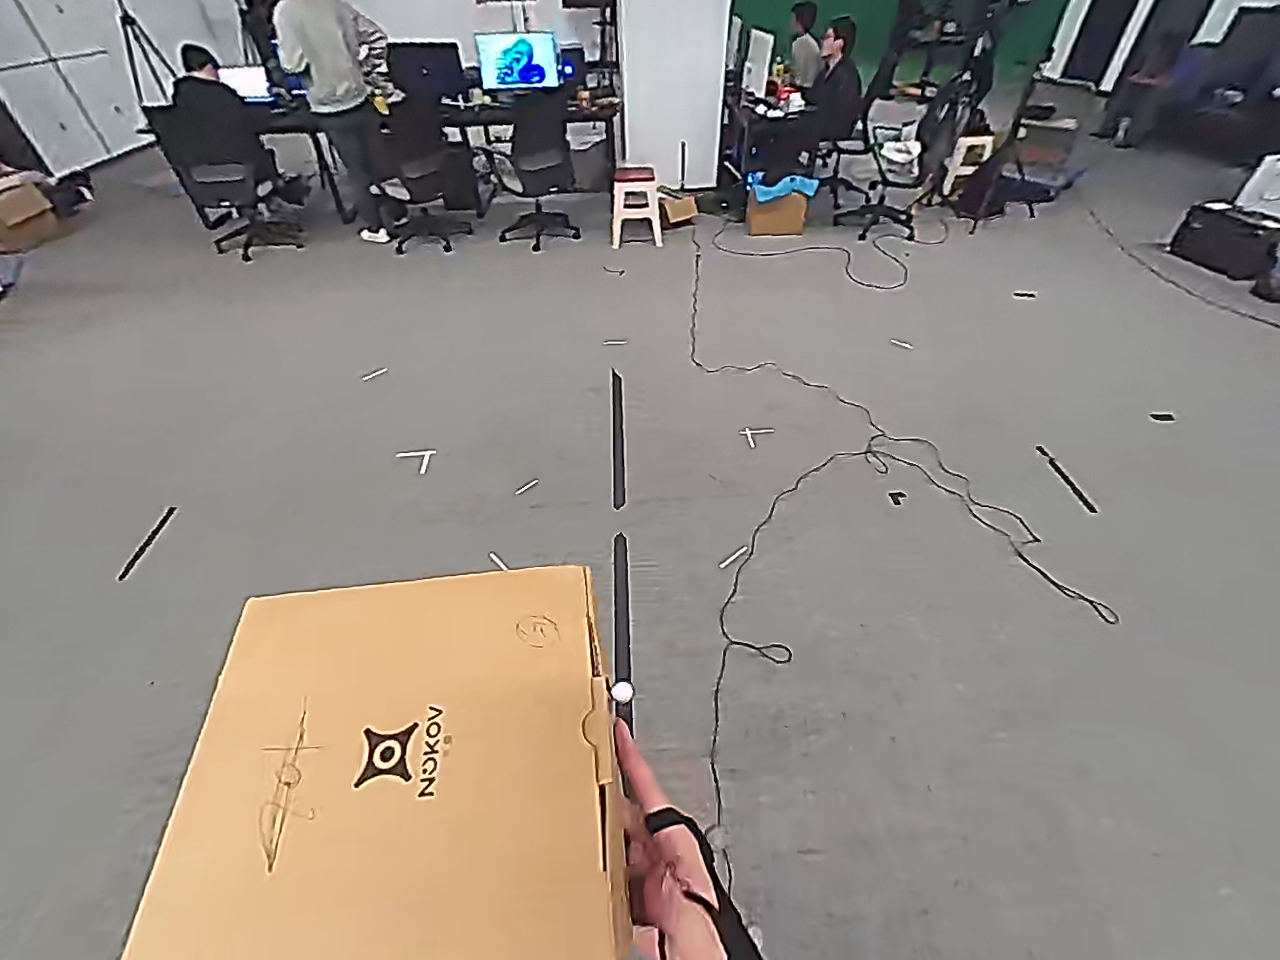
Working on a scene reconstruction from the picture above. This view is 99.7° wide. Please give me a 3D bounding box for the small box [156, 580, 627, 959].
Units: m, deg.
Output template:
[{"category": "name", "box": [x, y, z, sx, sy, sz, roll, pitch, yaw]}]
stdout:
[{"category": "small box", "box": [-0.100, 0.174, 0.304, 0.179, 0.176, 0.168, -6, 52, -3]}]
